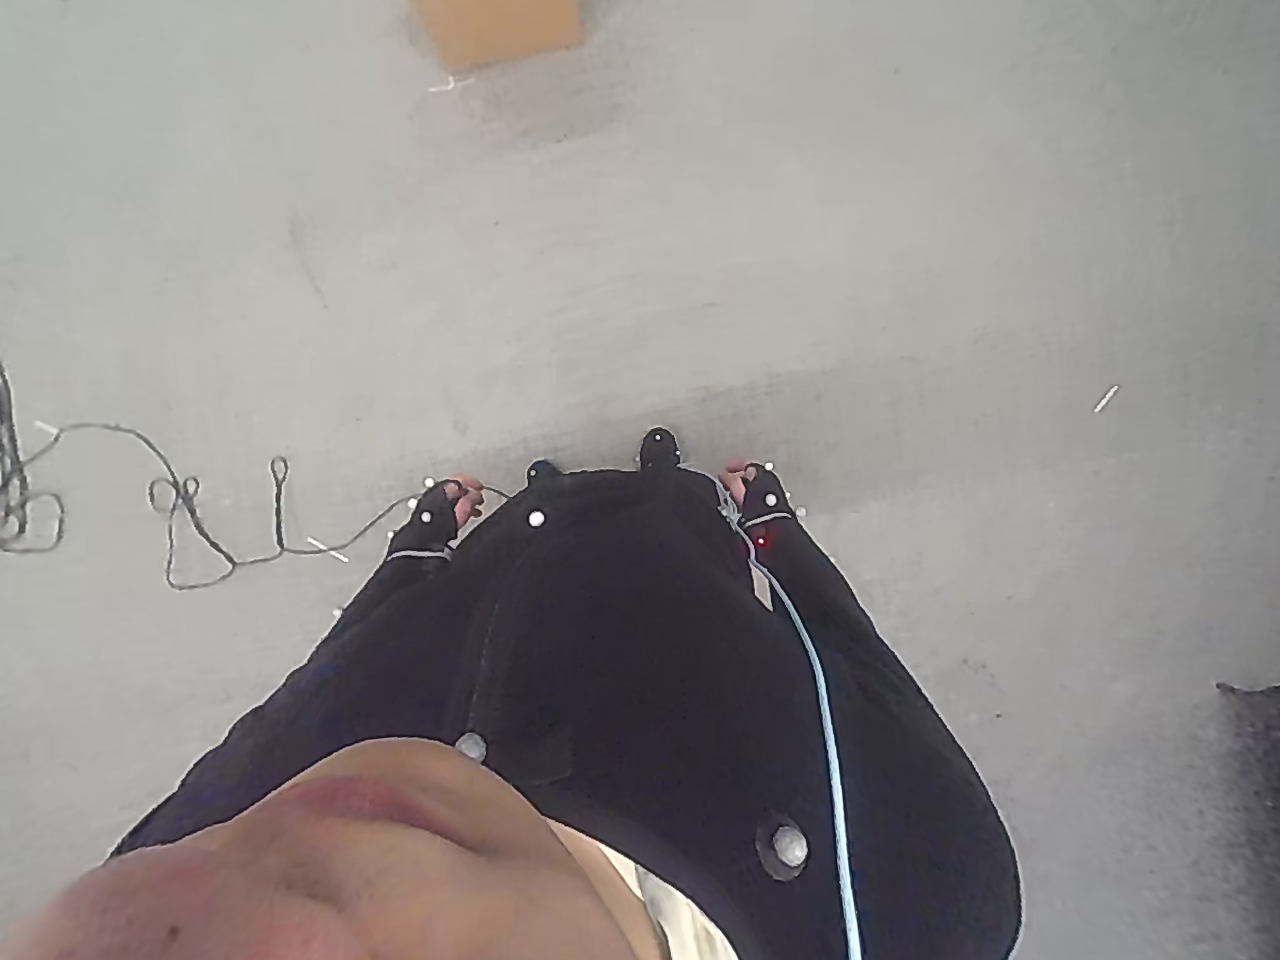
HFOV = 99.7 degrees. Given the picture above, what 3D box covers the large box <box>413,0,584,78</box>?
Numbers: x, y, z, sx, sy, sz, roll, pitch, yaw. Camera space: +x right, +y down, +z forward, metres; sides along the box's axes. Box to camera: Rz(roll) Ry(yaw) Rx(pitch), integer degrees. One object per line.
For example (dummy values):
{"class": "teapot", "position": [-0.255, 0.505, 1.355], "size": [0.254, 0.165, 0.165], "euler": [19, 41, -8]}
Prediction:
{"class": "large box", "position": [-0.382, -1.328, 1.386], "size": [0.408, 0.320, 0.320], "euler": [-13, 95, 0]}
